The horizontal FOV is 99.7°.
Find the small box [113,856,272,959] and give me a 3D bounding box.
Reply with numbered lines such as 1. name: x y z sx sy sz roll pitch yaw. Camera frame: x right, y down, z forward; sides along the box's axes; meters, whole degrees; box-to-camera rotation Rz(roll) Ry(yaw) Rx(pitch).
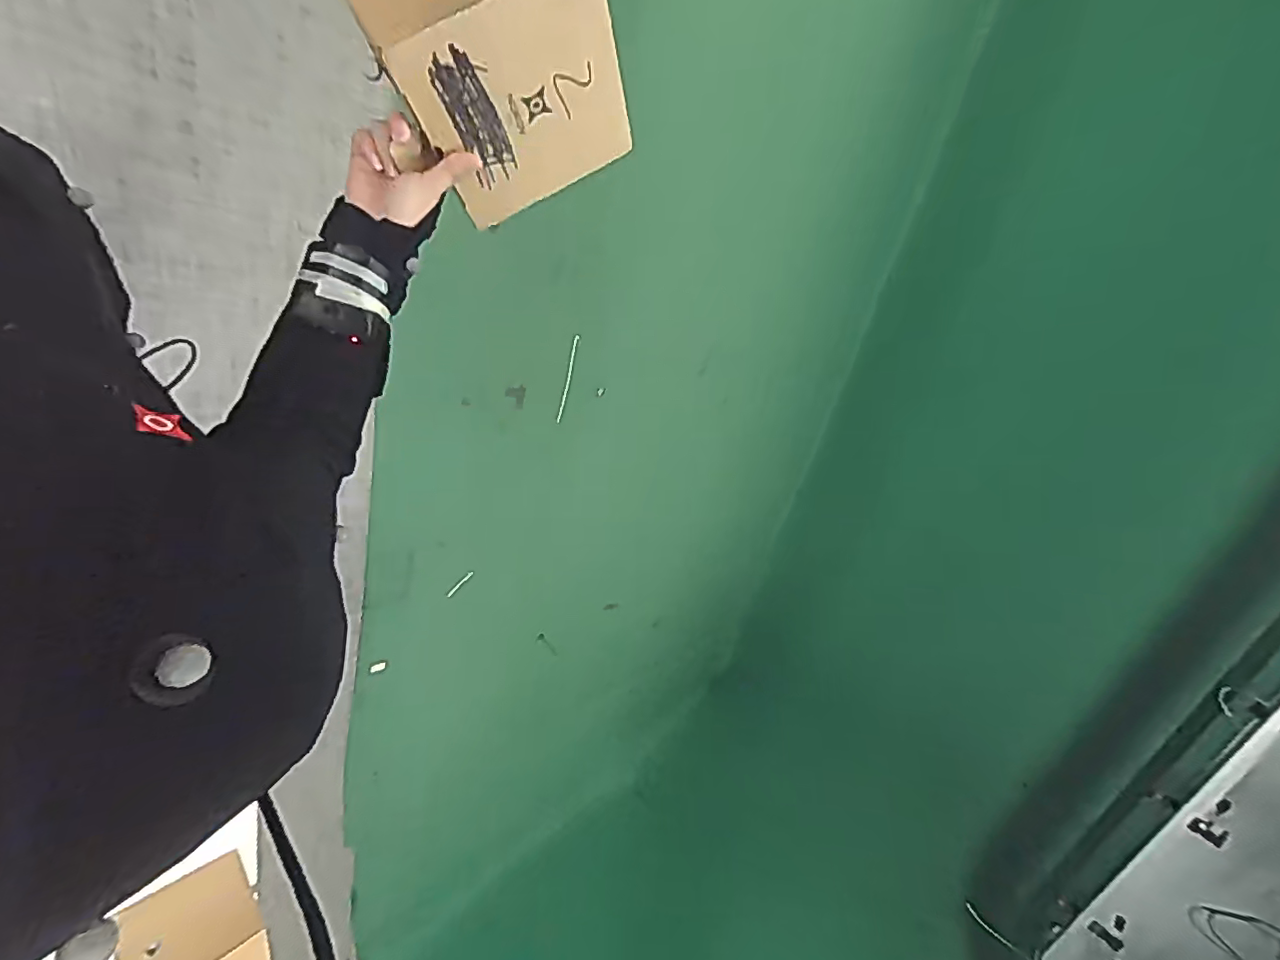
1. small box: -0.741 0.792 0.901 0.179 0.176 0.168 -16 128 -46
